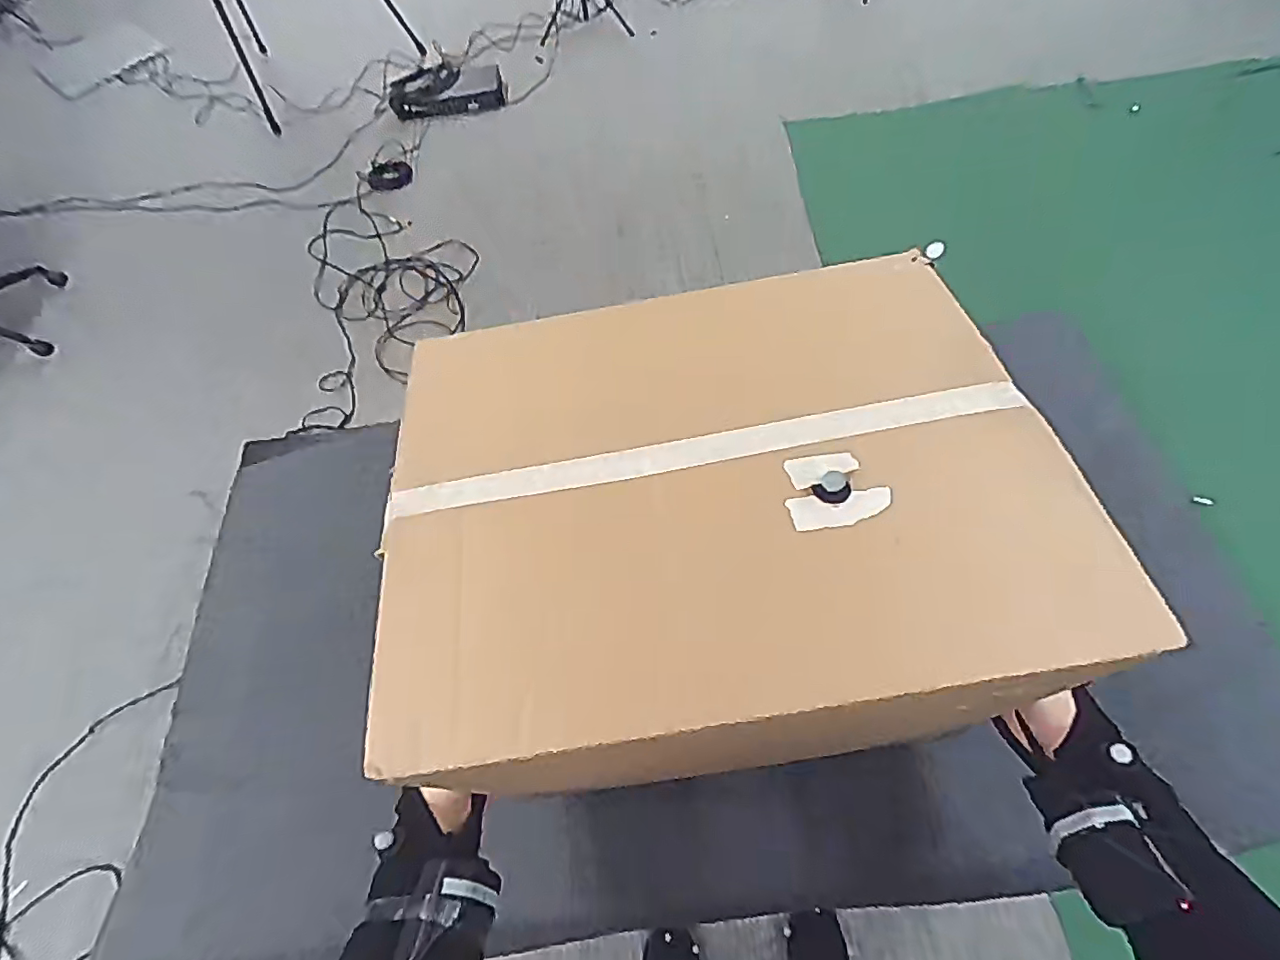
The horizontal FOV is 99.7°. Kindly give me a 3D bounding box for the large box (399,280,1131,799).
[{"bbox_3d":[0.058,0.075,0.489,0.408,0.320,0.320,-10,58,1],"label":"large box"}]
